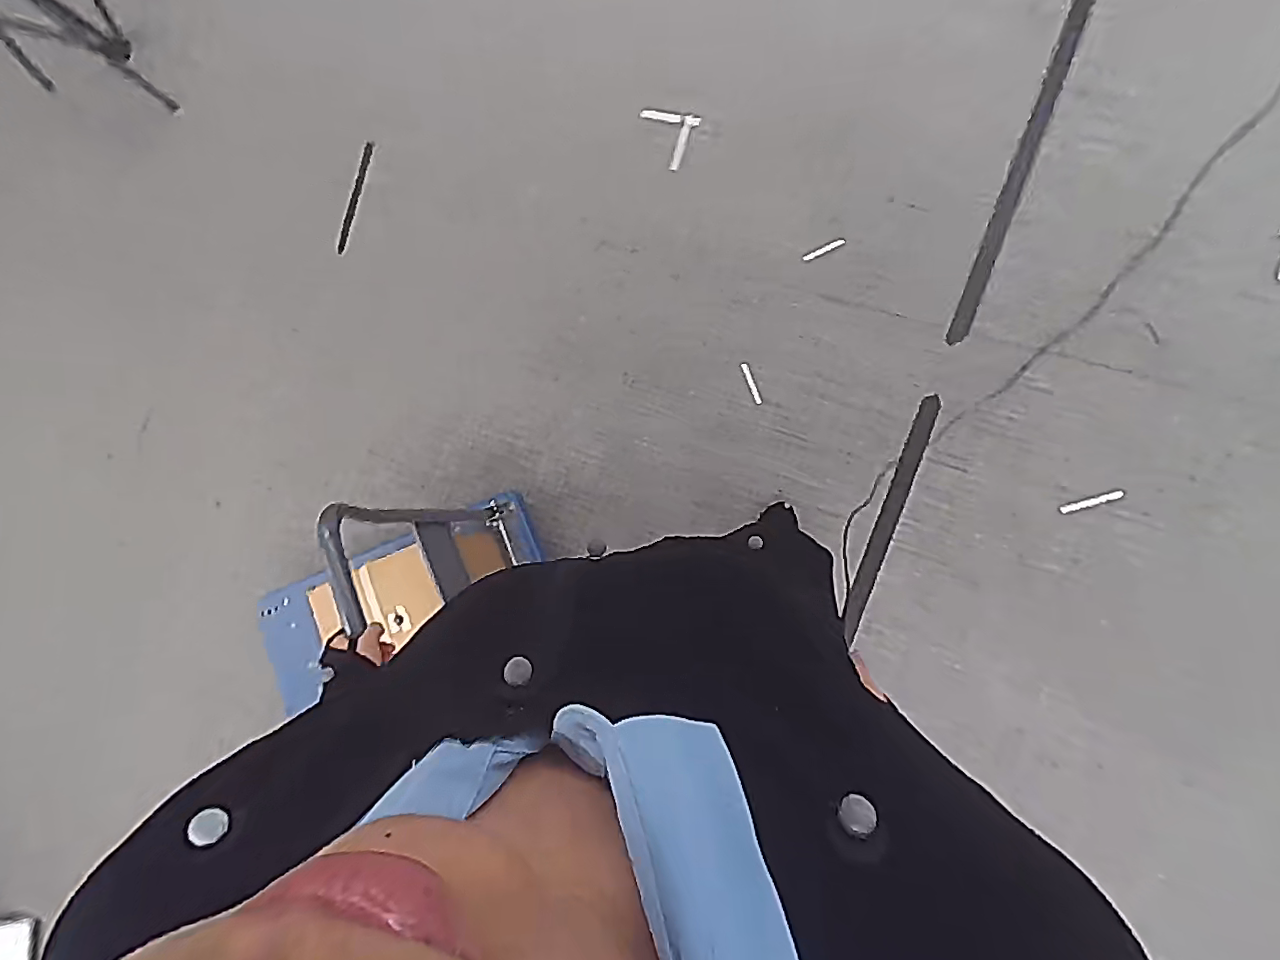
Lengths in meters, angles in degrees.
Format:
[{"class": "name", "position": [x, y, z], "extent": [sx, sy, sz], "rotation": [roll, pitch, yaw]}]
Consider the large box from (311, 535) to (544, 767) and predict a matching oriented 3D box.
[{"class": "large box", "position": [-0.480, 0.375, 1.280], "extent": [0.320, 0.320, 0.408], "rotation": [-23, 83, 9]}]
